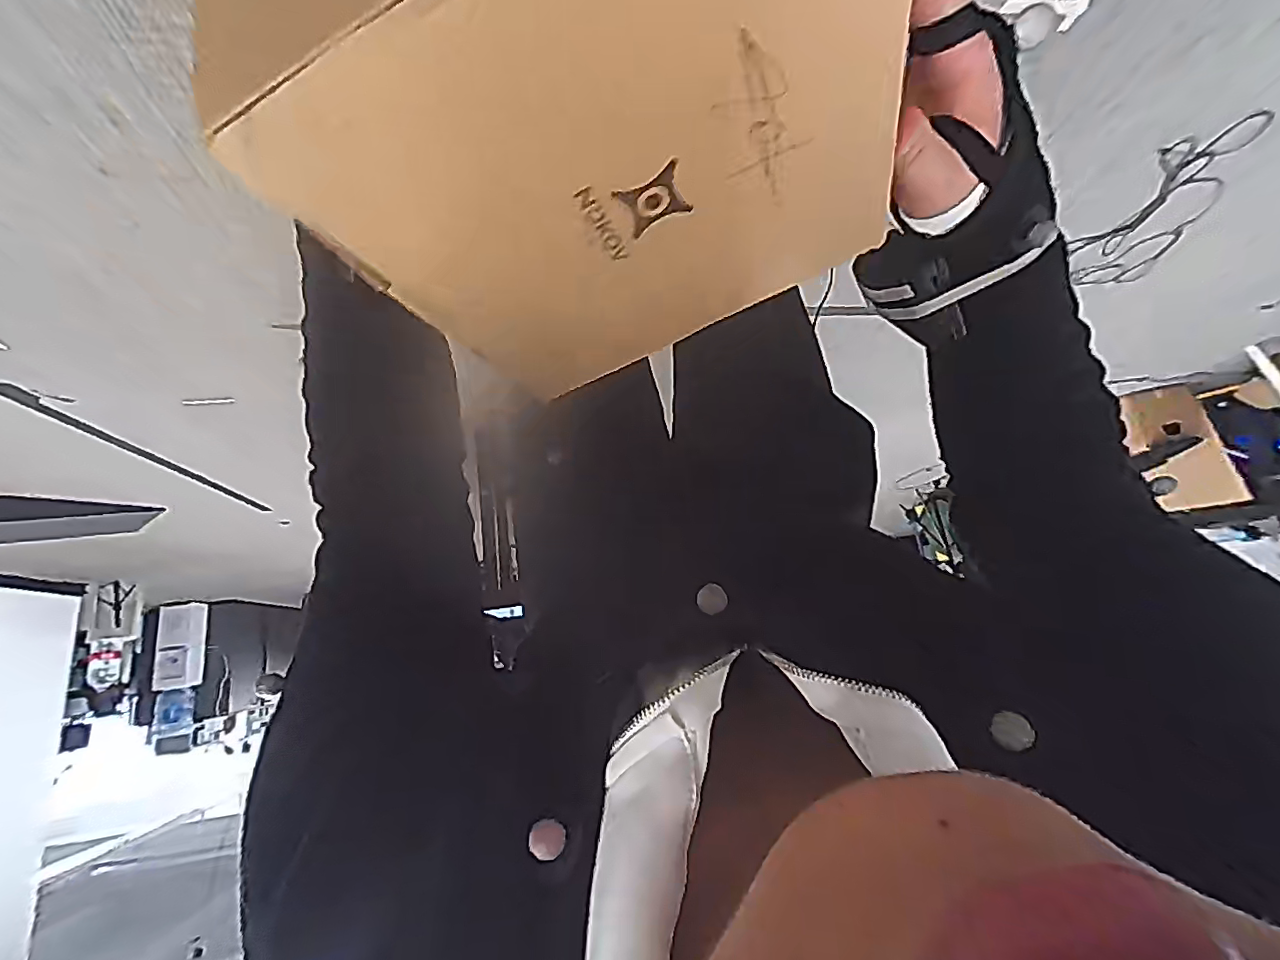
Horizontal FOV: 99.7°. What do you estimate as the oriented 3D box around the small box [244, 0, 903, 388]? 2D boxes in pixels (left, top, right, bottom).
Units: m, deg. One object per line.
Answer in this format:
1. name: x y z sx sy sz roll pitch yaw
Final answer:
1. small box: -0.019 -0.172 0.220 0.179 0.176 0.168 -24 159 12
